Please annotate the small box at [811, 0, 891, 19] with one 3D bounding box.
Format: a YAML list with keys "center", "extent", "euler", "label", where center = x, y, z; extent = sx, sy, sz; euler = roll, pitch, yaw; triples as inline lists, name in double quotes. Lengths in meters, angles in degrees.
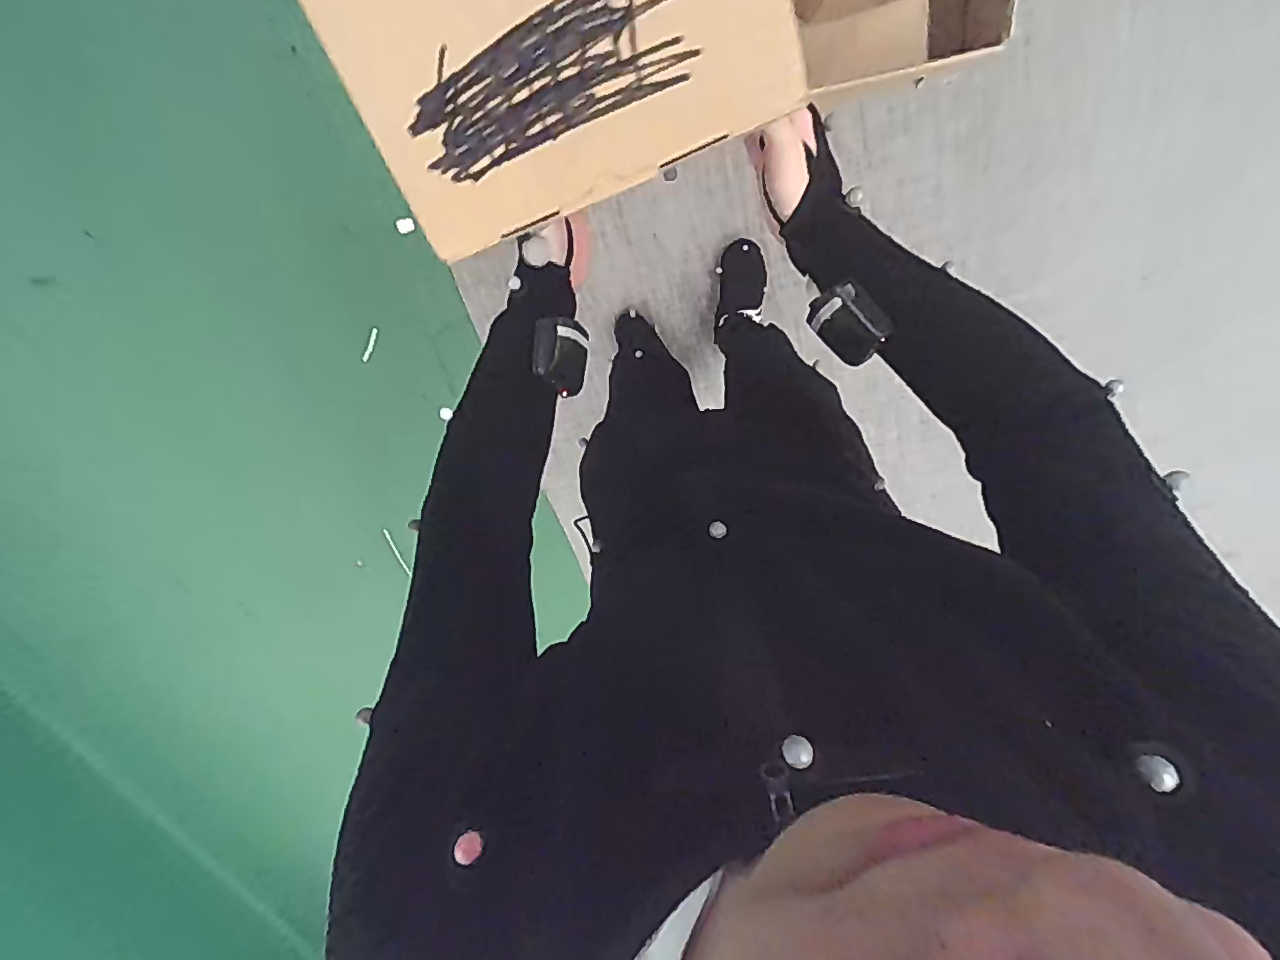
- center: [0.314, -0.749, 0.702]
  extent: [0.168, 0.176, 0.179]
  euler: [-7, 117, 12]
  label: "small box"
